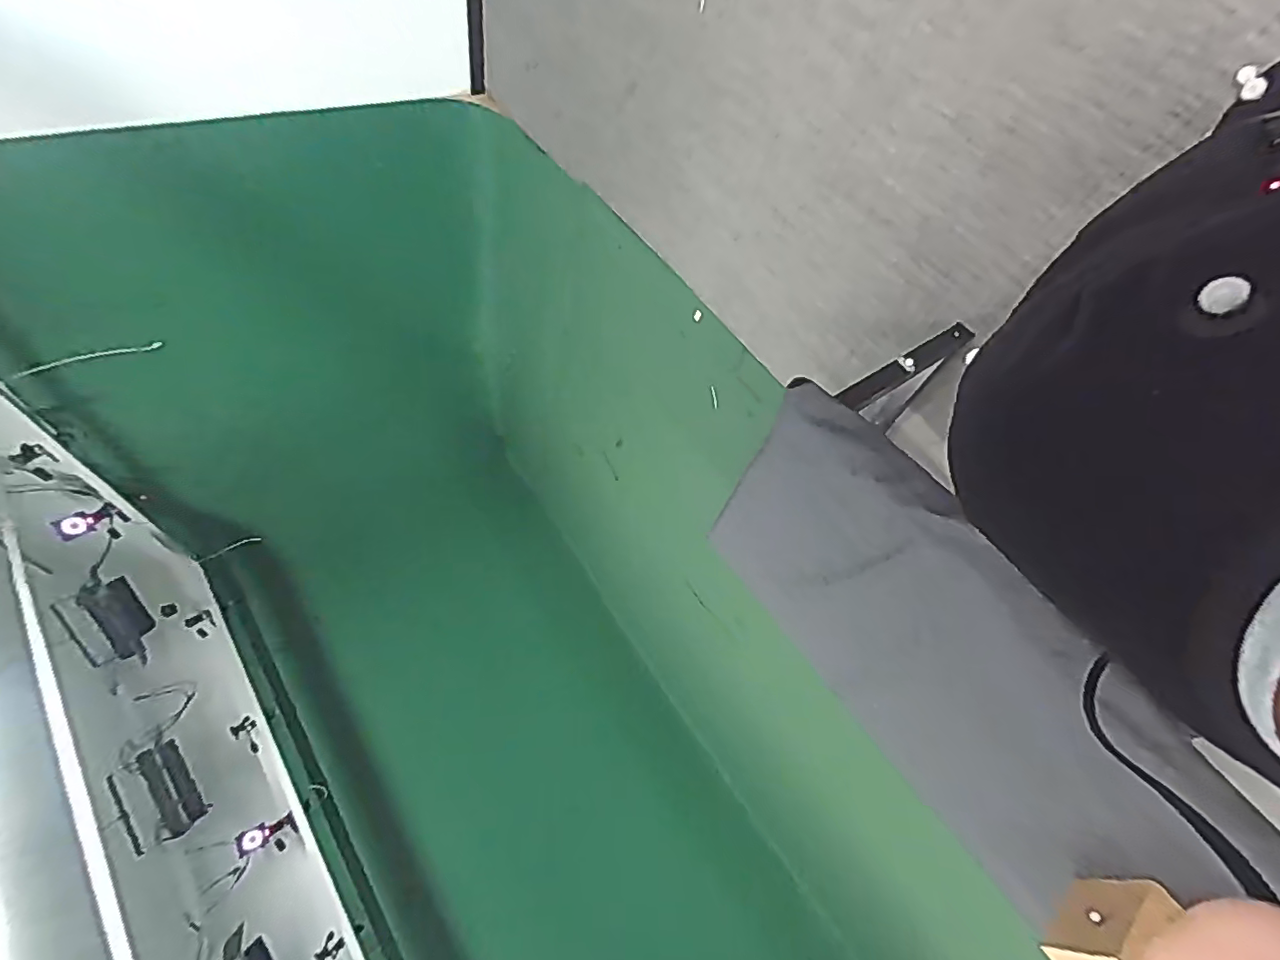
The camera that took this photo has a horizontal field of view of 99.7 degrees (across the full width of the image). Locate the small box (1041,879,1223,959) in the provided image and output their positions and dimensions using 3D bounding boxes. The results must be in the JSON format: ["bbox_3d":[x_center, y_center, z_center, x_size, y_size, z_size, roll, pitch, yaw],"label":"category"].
[{"bbox_3d":[0.872,0.842,0.951,0.168,0.176,0.179,49,148,22],"label":"small box"}]
